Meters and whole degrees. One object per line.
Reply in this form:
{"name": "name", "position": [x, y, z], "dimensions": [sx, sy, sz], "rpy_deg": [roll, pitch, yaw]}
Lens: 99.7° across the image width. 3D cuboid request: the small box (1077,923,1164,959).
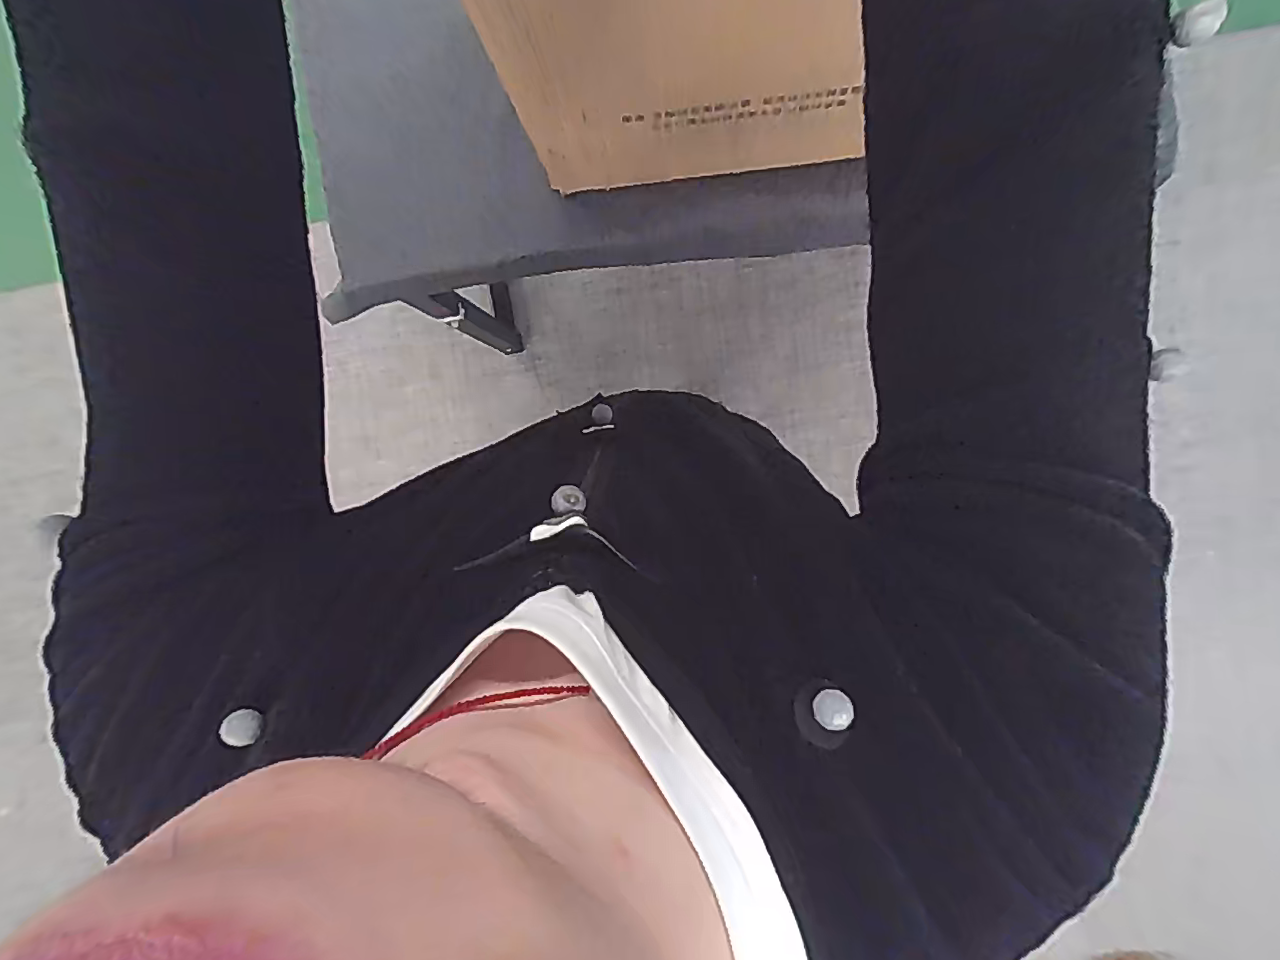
{"name": "small box", "position": [1.361, 1.387, 1.501], "dimensions": [0.168, 0.176, 0.179], "rpy_deg": [-8, 94, 4]}
